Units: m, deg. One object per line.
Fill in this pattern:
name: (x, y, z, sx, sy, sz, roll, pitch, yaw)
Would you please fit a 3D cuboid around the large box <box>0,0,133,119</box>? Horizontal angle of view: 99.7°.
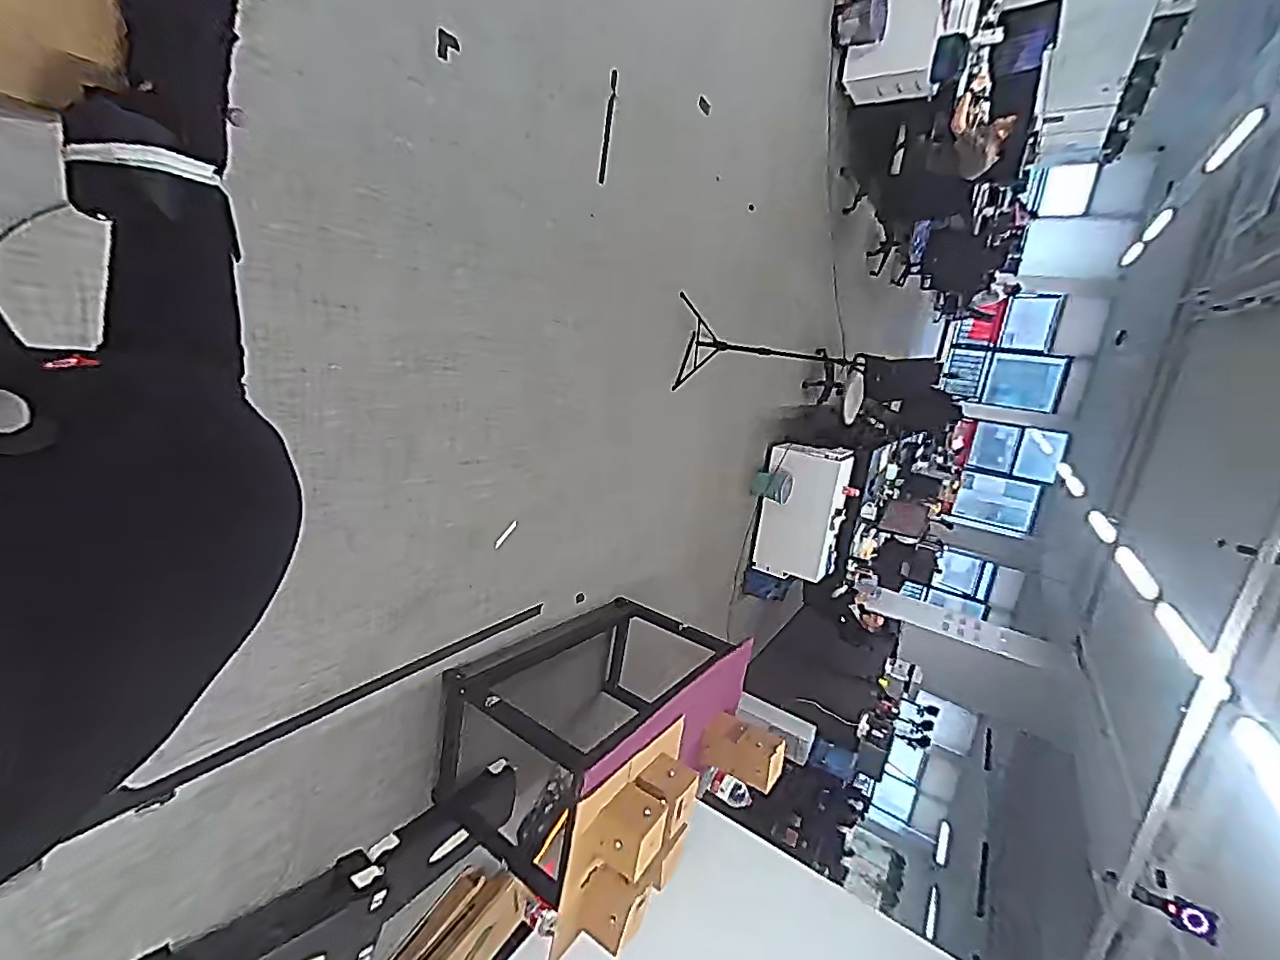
large box: (-0.550, -0.411, 0.232, 0.408, 0.320, 0.320, -16, 125, -59)
